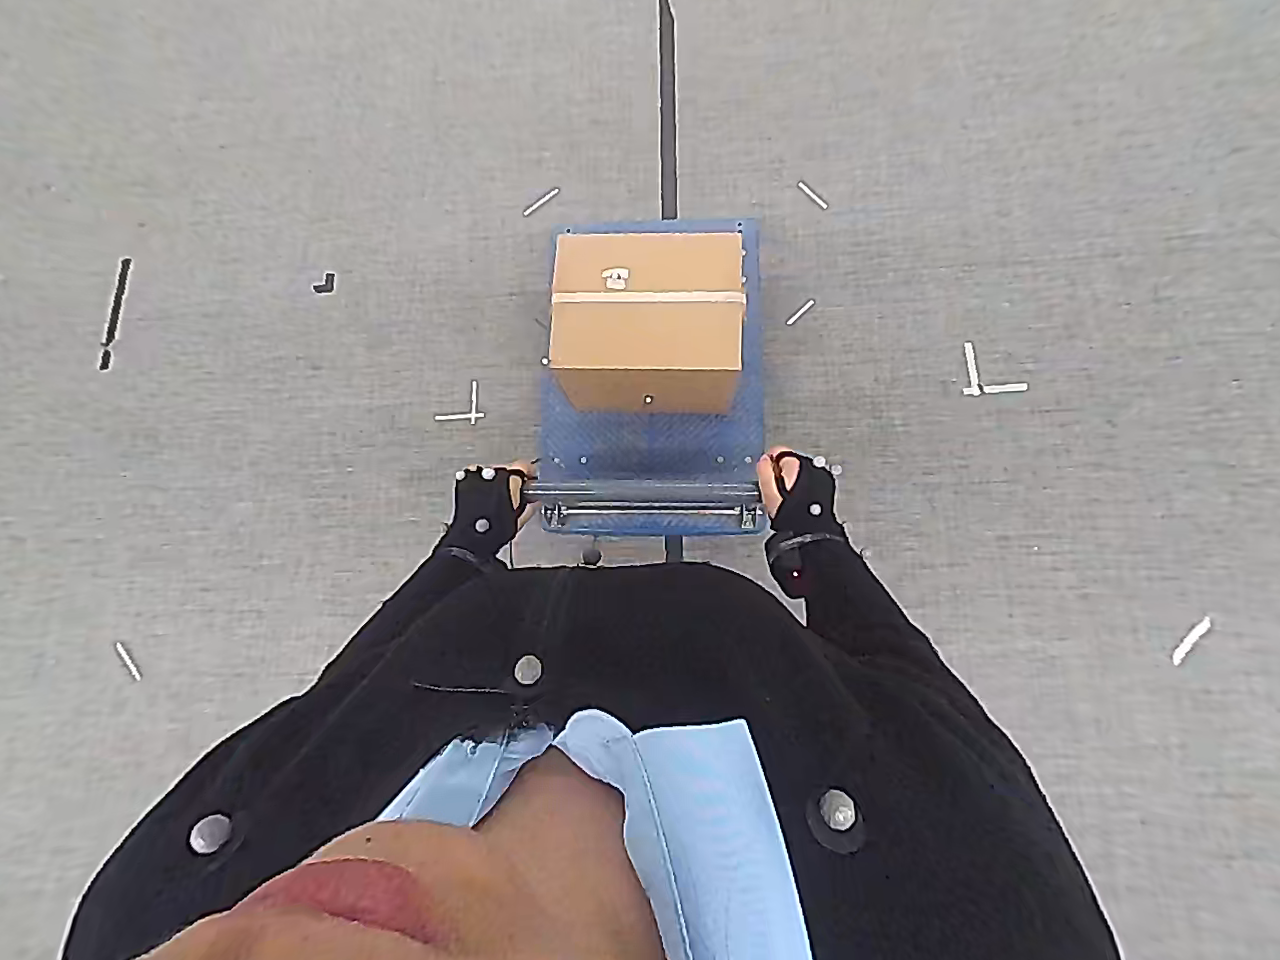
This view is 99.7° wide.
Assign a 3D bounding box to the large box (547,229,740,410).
[{"bbox_3d":[0.023,-0.354,1.277,0.408,0.320,0.320,1,79,6],"label":"large box"}]
